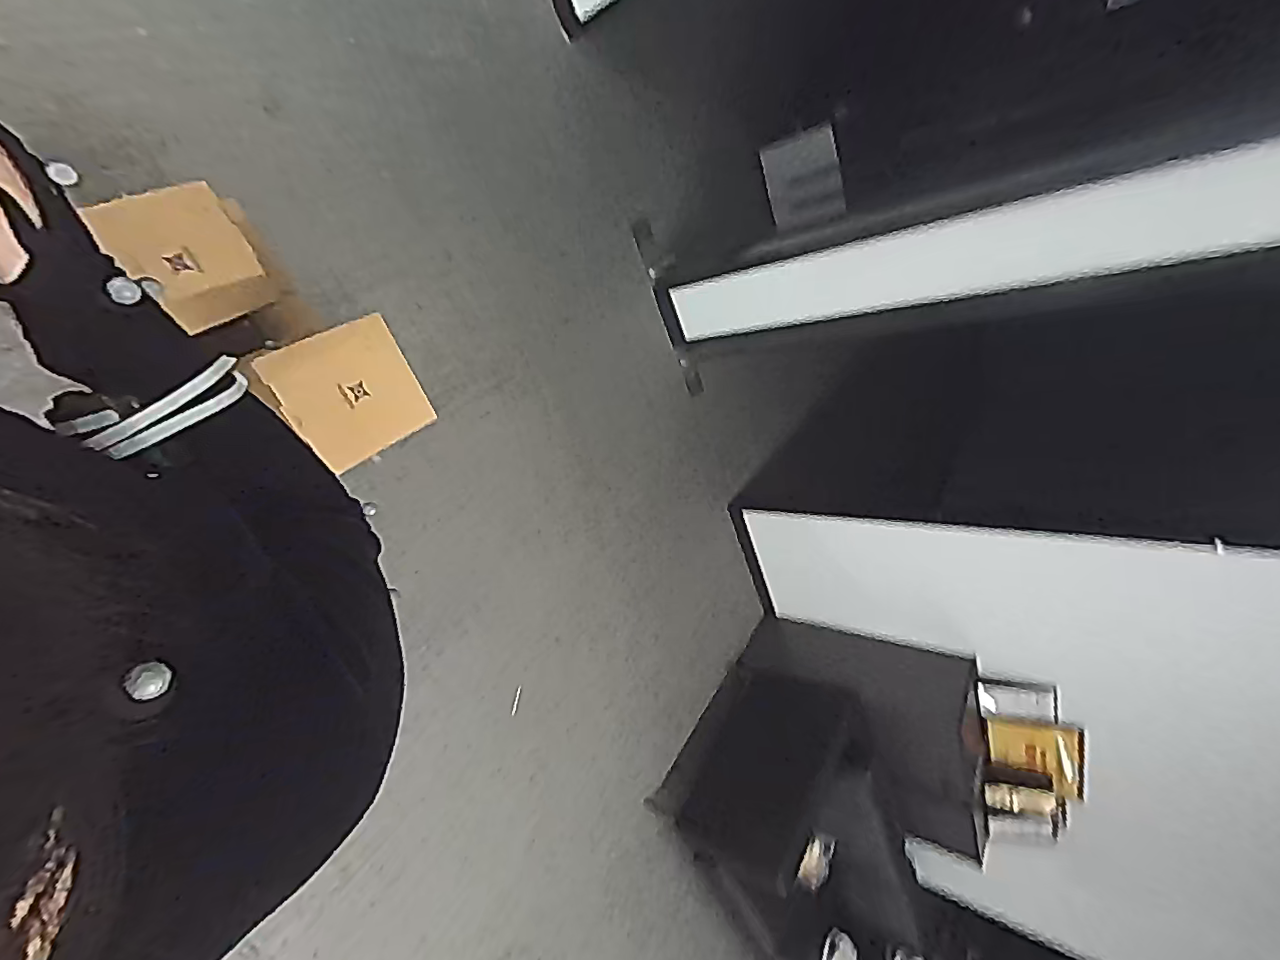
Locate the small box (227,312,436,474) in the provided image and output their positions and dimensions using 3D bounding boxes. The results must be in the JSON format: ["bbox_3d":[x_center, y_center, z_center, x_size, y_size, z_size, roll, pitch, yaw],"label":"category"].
[{"bbox_3d":[-0.440,-0.122,0.776,0.179,0.176,0.168,-43,121,-40],"label":"small box"}]
